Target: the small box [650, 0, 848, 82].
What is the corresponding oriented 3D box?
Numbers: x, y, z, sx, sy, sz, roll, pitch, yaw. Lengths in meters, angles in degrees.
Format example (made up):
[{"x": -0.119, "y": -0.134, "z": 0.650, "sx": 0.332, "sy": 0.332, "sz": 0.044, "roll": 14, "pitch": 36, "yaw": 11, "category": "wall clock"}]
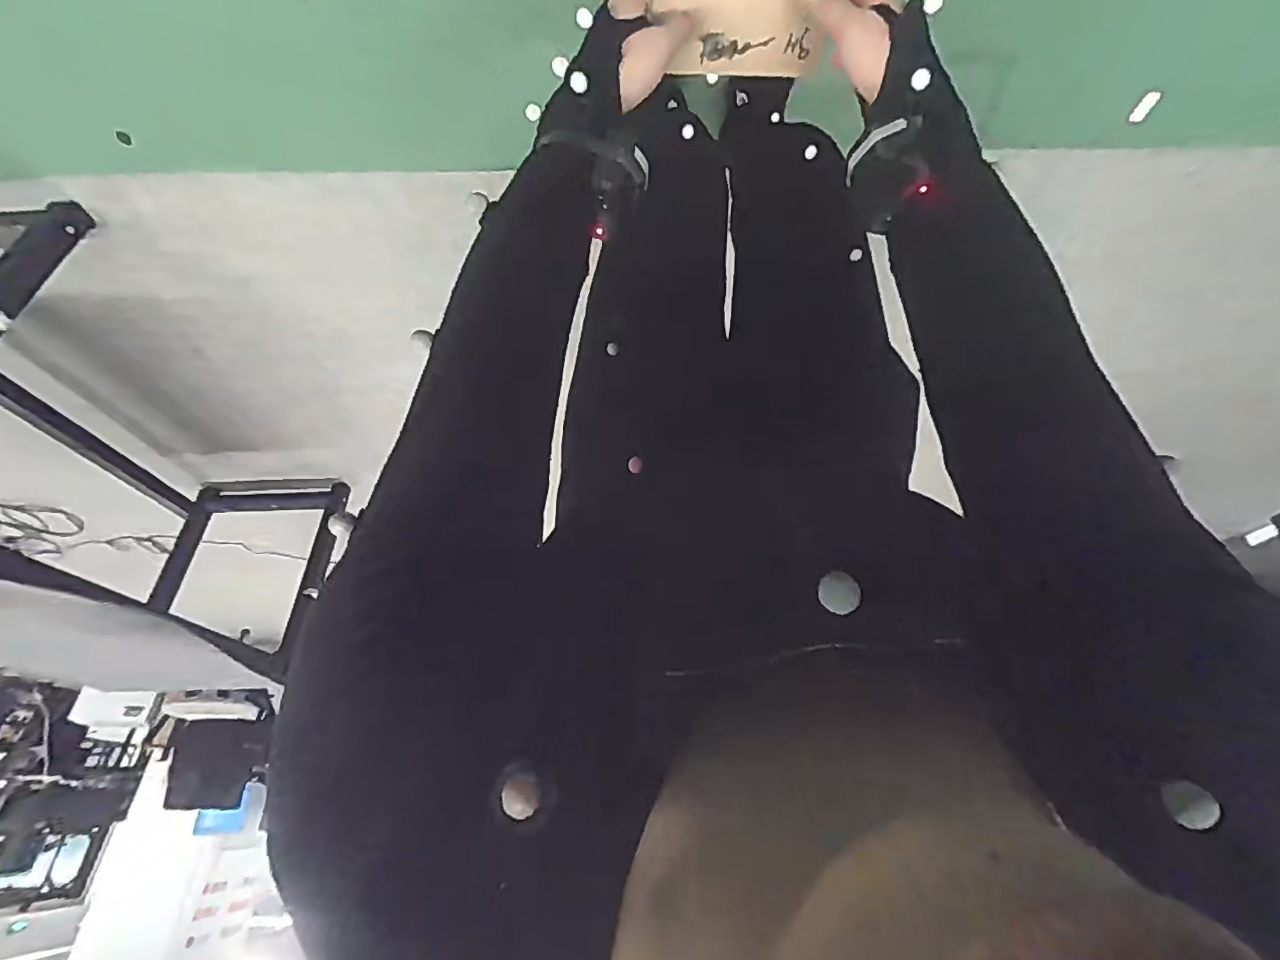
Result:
[{"x": 0.097, "y": -0.498, "z": 0.485, "sx": 0.168, "sy": 0.176, "sz": 0.179, "roll": -1, "pitch": 150, "yaw": -4, "category": "small box"}]
